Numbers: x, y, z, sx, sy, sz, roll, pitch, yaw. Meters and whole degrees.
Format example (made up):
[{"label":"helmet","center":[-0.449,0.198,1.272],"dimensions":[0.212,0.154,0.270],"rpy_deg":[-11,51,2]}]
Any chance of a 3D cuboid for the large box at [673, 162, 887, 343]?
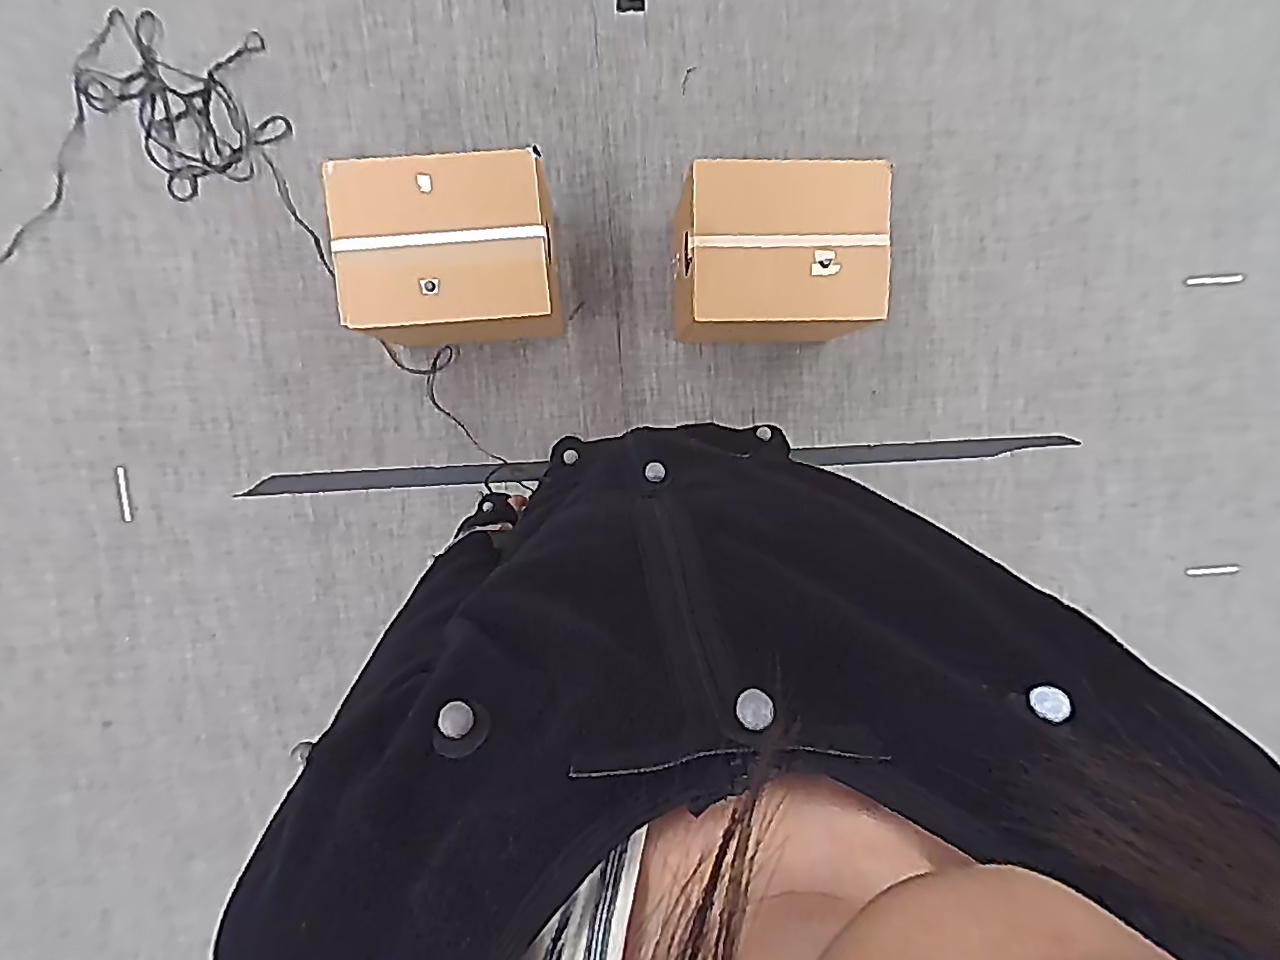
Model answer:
[{"label":"large box","center":[0.296,-0.498,1.244],"dimensions":[0.408,0.320,0.320],"rpy_deg":[-1,97,-4]}]
